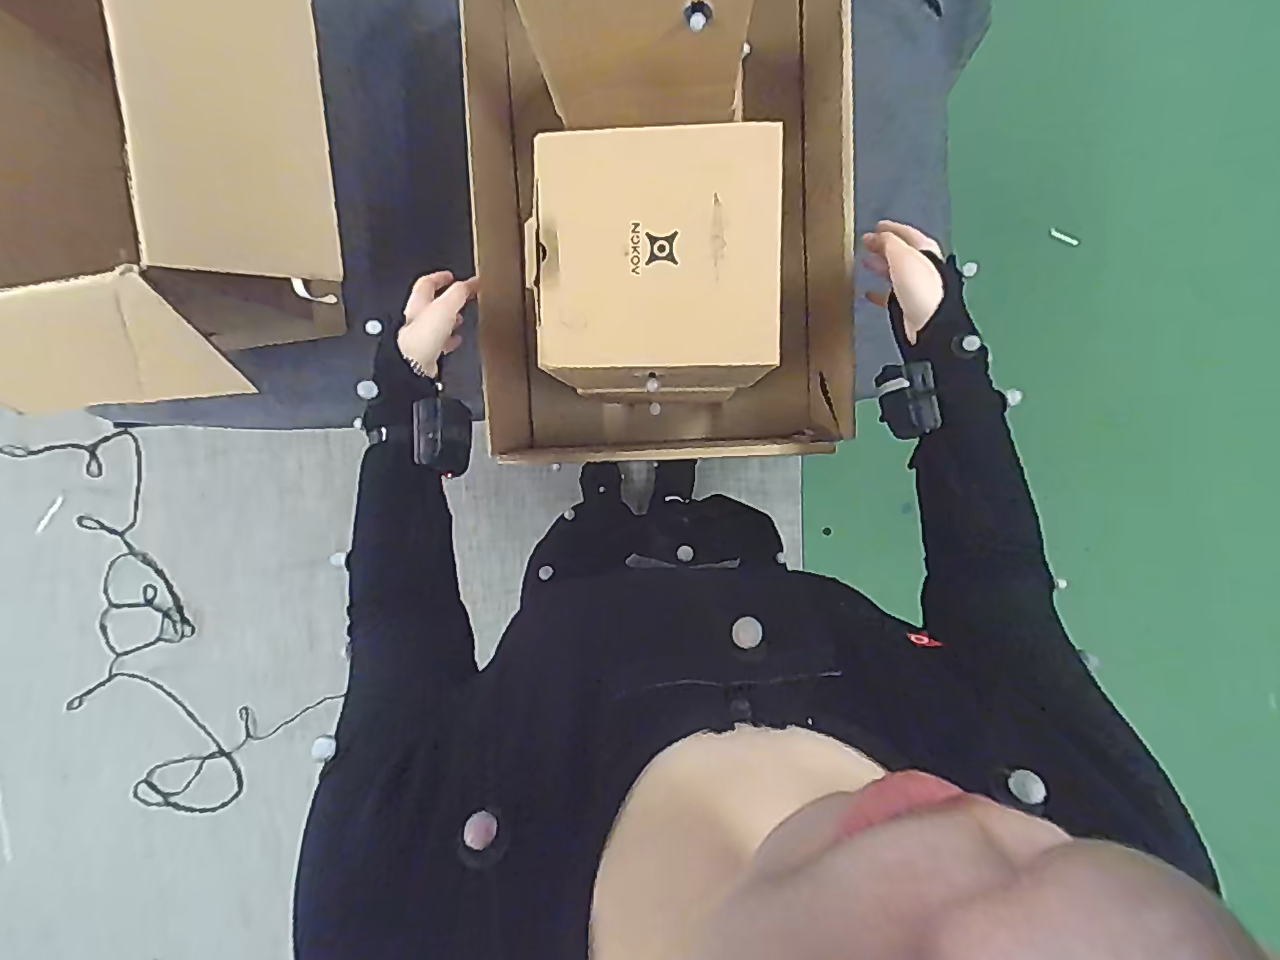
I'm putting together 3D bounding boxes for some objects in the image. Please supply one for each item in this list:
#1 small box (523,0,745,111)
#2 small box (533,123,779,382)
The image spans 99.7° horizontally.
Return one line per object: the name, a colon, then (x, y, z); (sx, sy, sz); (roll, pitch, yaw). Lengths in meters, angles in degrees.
small box: (-0.003, -0.433, 0.442); (0.179, 0.176, 0.168); (0, 97, 2)
small box: (0.016, -0.174, 0.467); (0.179, 0.176, 0.168); (0, 96, 3)
